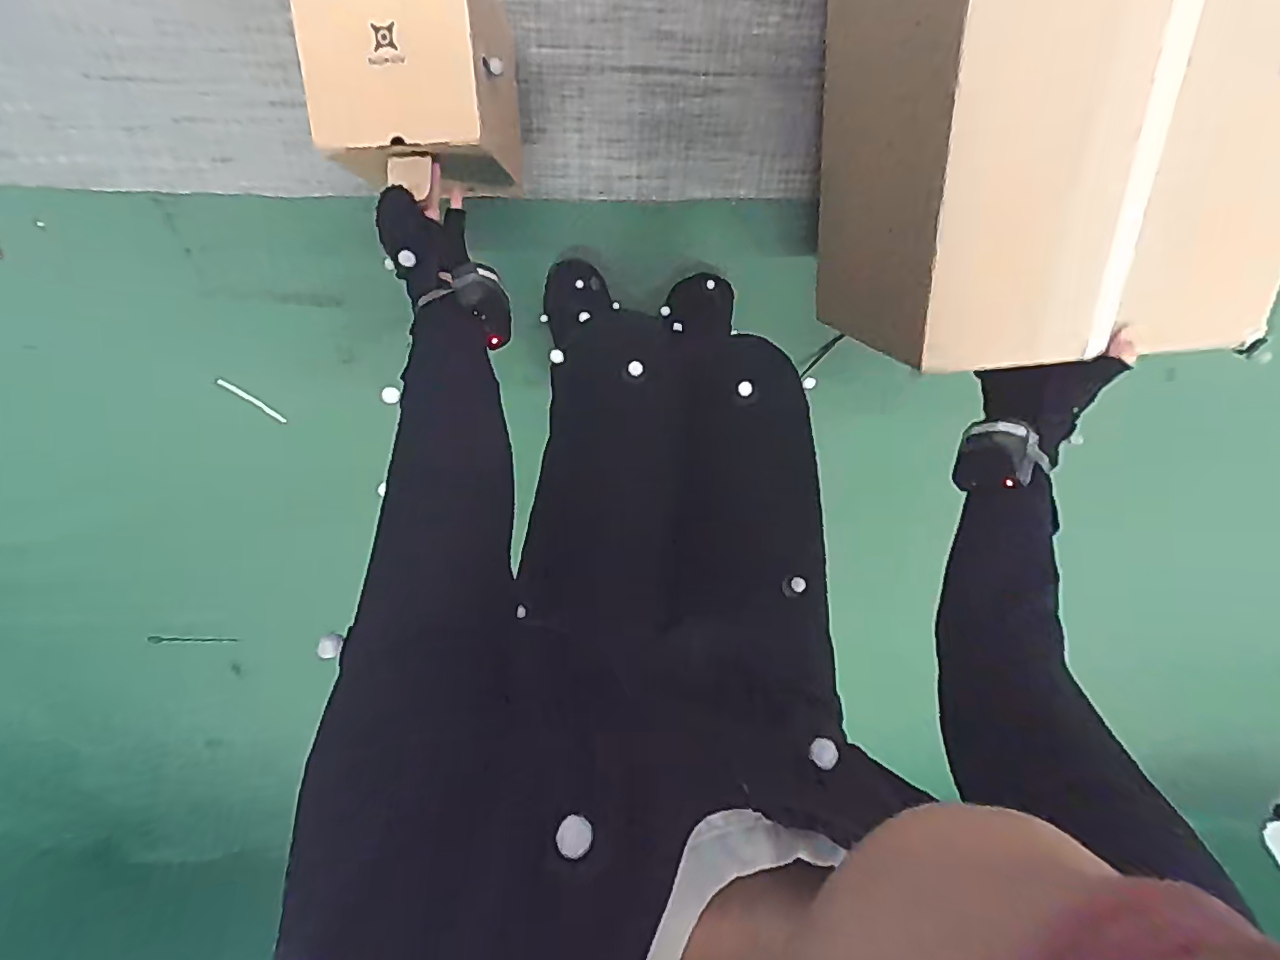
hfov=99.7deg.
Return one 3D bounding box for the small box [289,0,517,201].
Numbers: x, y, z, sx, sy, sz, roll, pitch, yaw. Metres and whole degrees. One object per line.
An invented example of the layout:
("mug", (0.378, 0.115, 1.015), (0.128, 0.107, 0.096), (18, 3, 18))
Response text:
("small box", (-0.239, -0.421, 0.586), (0.168, 0.176, 0.179), (-2, 106, 2))
